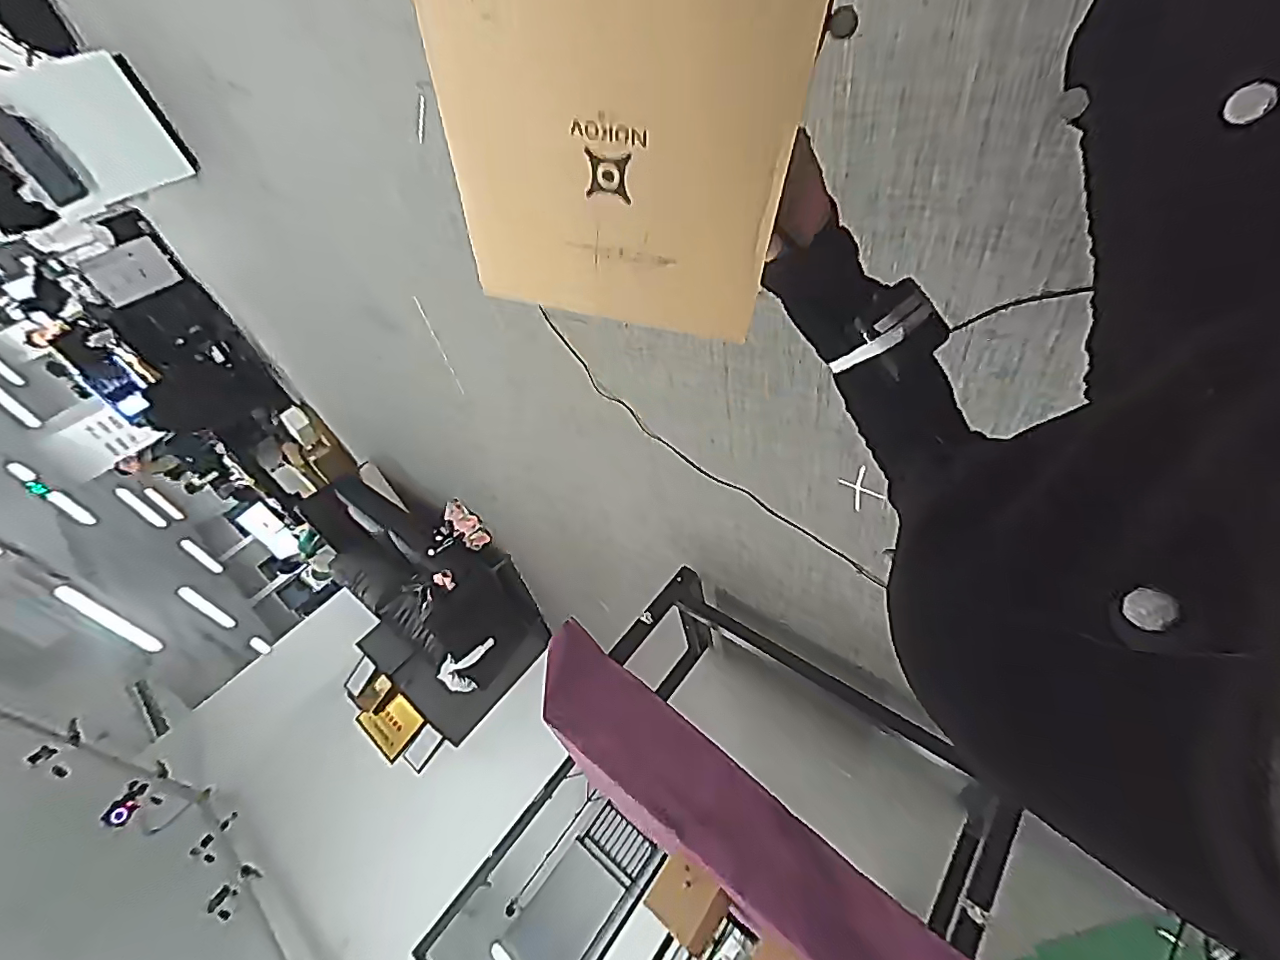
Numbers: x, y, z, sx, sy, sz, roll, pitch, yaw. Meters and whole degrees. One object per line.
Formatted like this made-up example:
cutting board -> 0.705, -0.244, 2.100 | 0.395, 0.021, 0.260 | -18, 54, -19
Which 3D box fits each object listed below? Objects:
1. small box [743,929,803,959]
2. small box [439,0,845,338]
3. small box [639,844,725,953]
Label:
small box -> 0.353, 1.314, 1.405 | 0.179, 0.176, 0.168 | 24, 146, 36
small box -> 0.011, -0.216, 0.309 | 0.168, 0.176, 0.179 | 14, 146, 6
small box -> 0.130, 1.214, 1.578 | 0.168, 0.176, 0.179 | 20, 142, 39
